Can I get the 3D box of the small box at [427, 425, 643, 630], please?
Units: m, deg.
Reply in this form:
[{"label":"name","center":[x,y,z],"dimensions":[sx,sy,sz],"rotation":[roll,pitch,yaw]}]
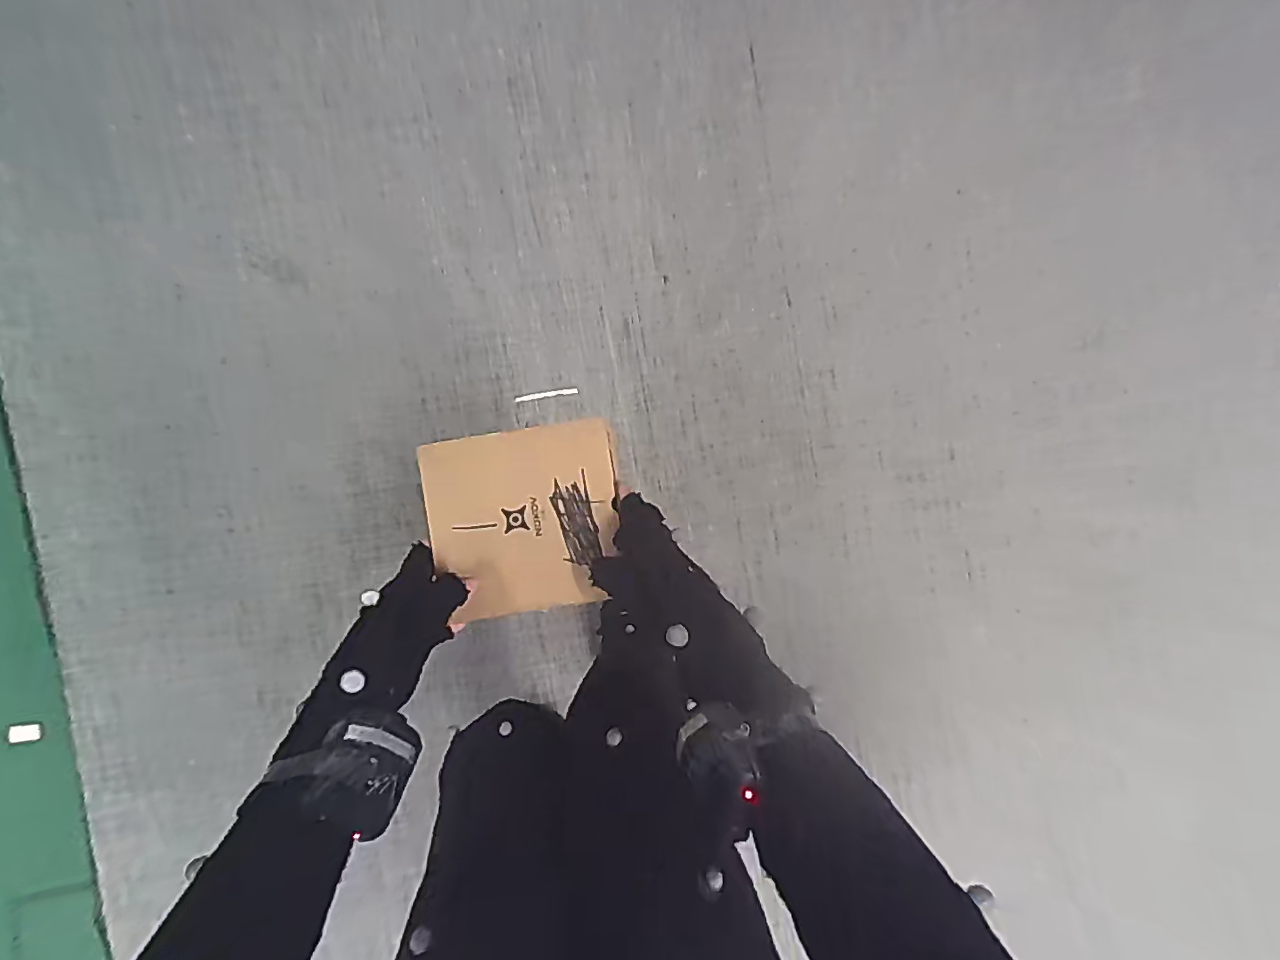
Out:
[{"label":"small box","center":[-0.101,0.045,0.583],"dimensions":[0.179,0.176,0.168],"rotation":[-12,88,-2]}]
